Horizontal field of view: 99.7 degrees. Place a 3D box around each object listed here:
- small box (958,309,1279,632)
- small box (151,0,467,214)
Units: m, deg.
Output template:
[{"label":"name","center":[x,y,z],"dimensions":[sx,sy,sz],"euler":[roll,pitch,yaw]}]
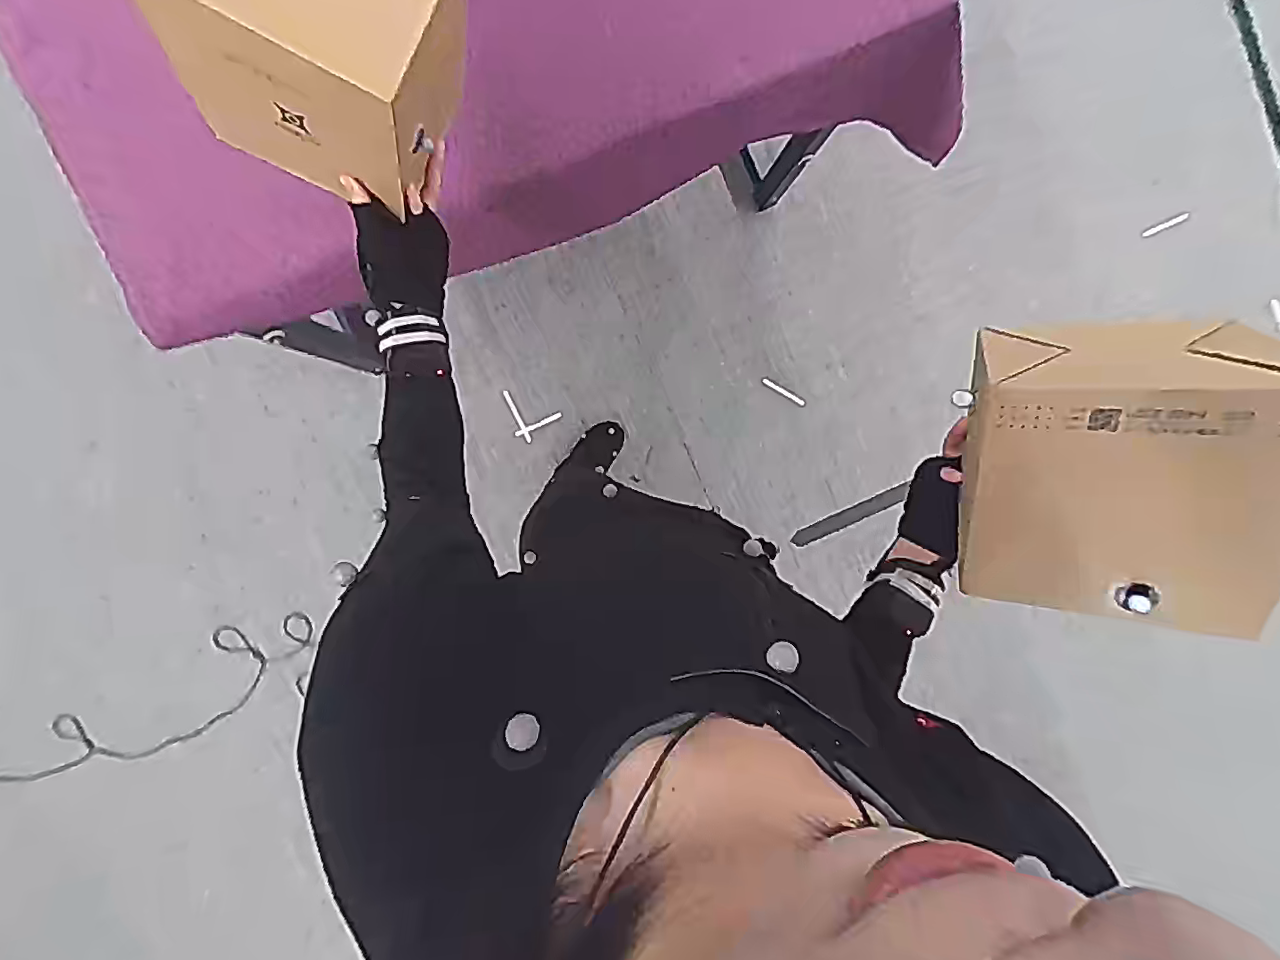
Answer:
[{"label":"small box","center":[0.340,-0.024,0.399],"dimensions":[0.168,0.179,0.176],"euler":[6,119,28]},{"label":"small box","center":[-0.250,-0.372,0.448],"dimensions":[0.168,0.179,0.176],"euler":[20,79,-17]}]
